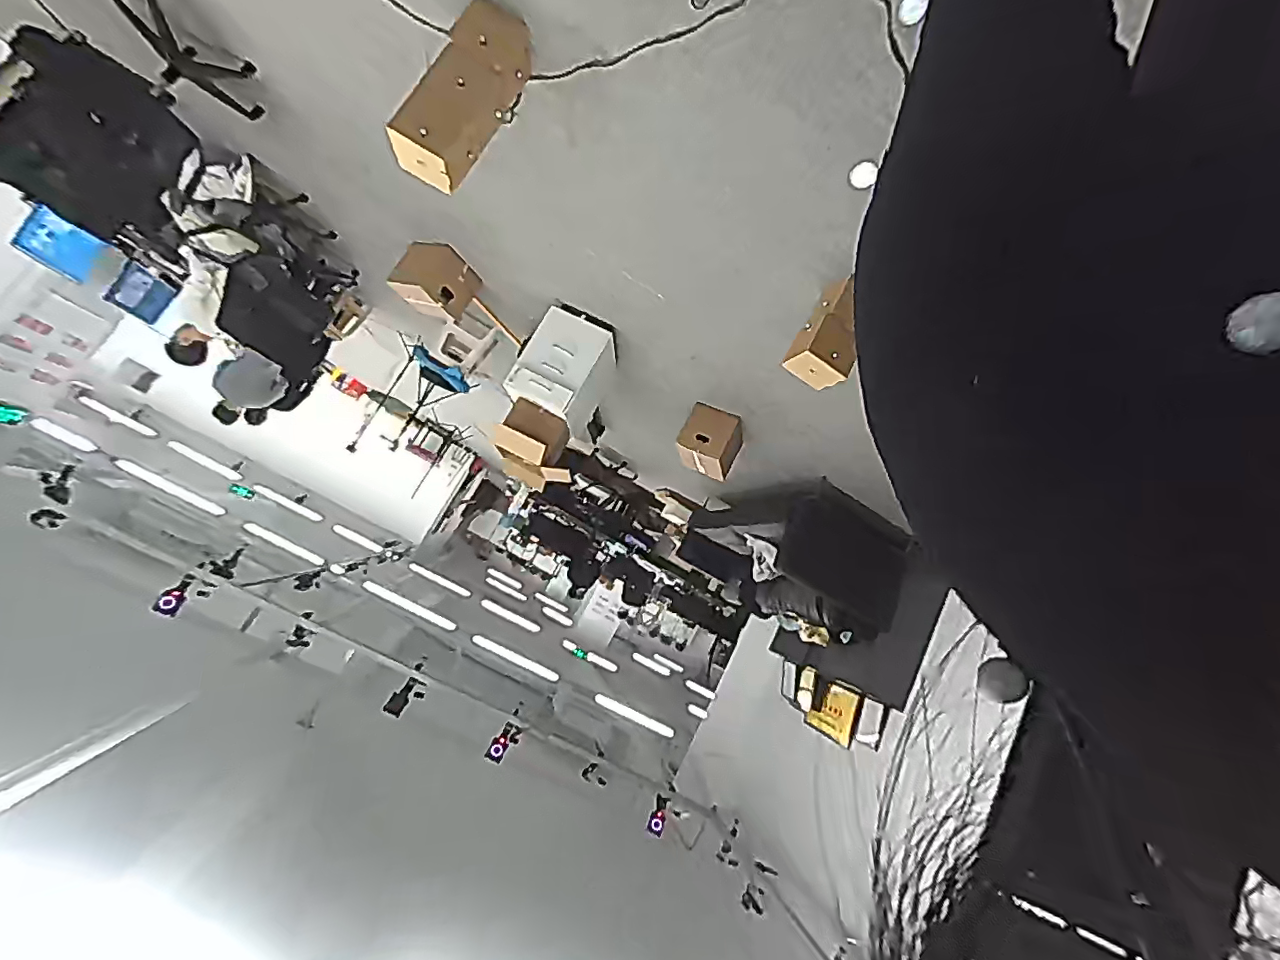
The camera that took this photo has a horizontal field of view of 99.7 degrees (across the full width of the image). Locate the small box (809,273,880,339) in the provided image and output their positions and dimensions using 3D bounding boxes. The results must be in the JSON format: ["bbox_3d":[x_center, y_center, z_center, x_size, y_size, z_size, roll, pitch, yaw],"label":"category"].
[{"bbox_3d":[0.717,-0.594,1.908,0.168,0.176,0.179,31,168,-12],"label":"small box"}]

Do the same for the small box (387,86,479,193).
[{"bbox_3d":[-0.596,-0.994,1.576,0.179,0.176,0.168,29,169,-6],"label":"small box"}]

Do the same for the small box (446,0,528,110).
[{"bbox_3d":[-0.449,-1.282,1.626,0.179,0.176,0.168,29,168,-3],"label":"small box"}]

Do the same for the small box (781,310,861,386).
[{"bbox_3d":[0.632,-0.457,1.880,0.179,0.176,0.168,31,167,-11],"label":"small box"}]

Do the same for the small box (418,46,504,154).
[{"bbox_3d":[-0.525,-1.137,1.613,0.179,0.176,0.168,29,169,-7],"label":"small box"}]
